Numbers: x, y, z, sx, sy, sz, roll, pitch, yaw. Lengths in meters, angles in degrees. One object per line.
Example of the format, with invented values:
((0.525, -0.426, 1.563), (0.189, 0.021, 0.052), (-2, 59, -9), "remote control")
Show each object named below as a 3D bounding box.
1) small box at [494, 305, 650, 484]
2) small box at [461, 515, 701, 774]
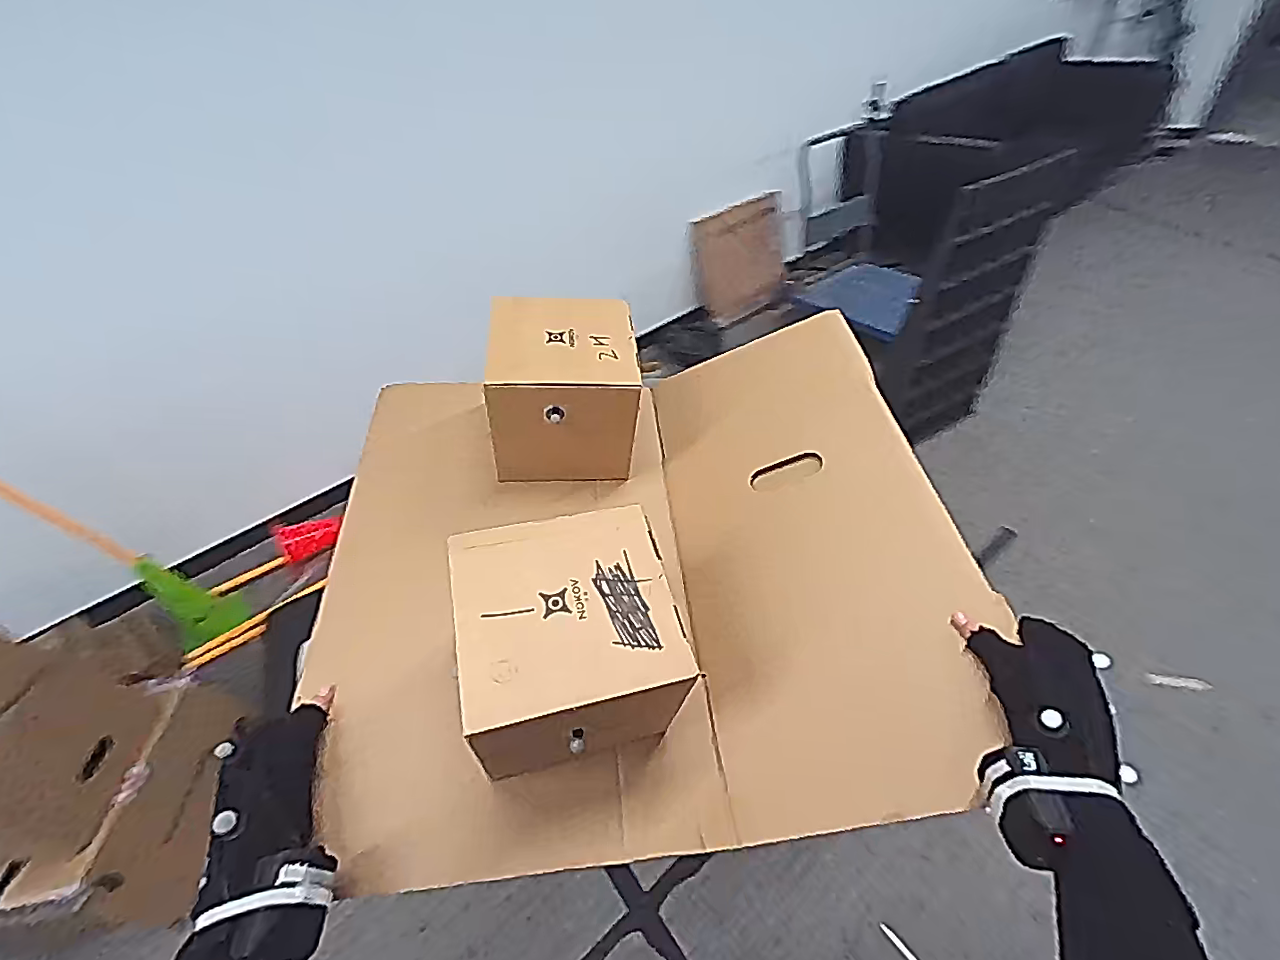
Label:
((-0.087, -0.107, 0.708), (0.179, 0.176, 0.168), (1, 52, -8), "small box")
((-0.063, 0.155, 0.505), (0.179, 0.176, 0.168), (-8, 54, -13), "small box")
